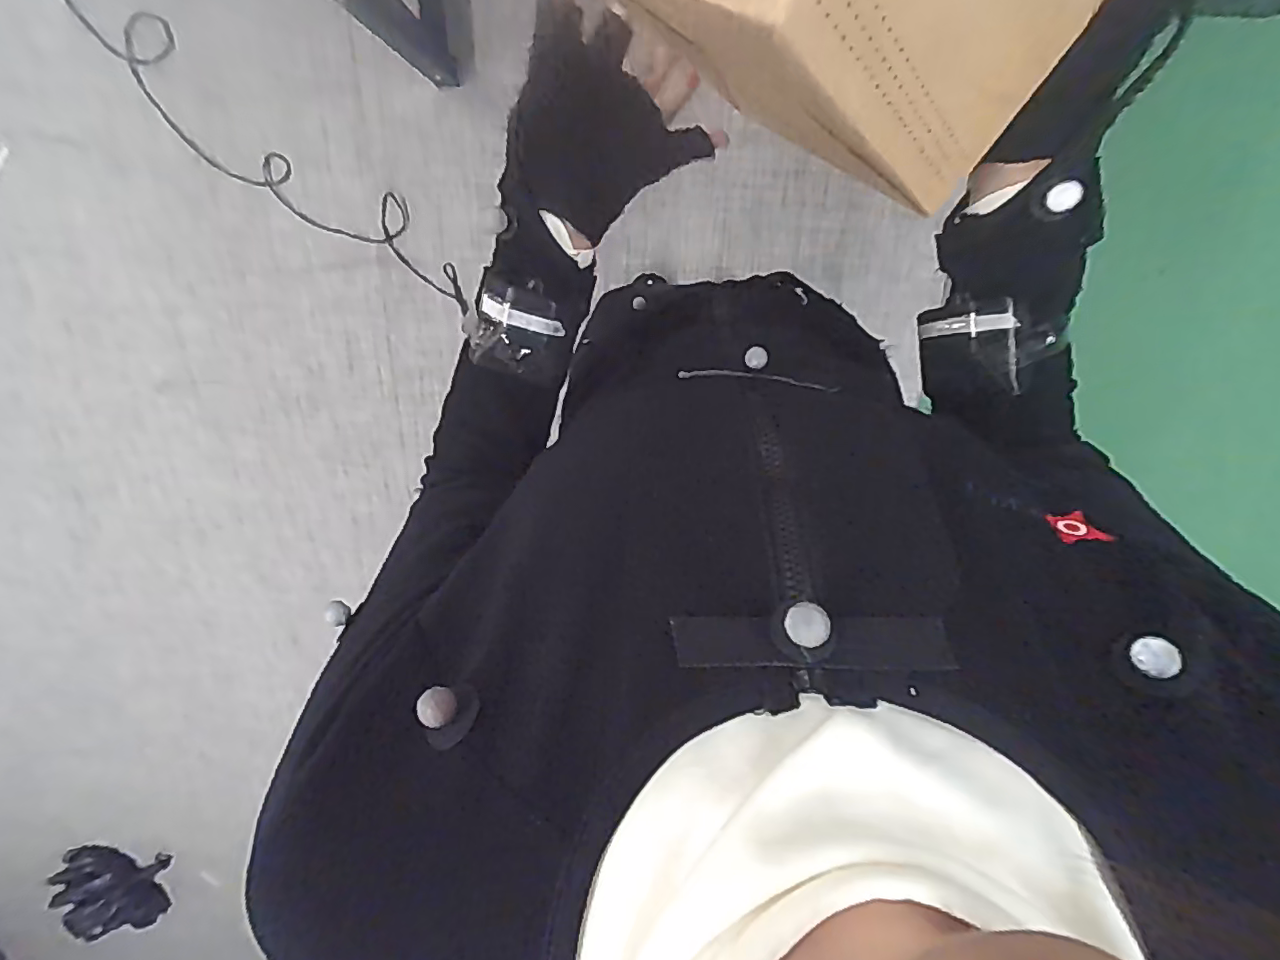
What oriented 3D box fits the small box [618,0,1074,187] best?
[{"bbox_3d":[0.096,-0.266,0.245,0.168,0.179,0.176,52,124,30],"label":"small box"}]
